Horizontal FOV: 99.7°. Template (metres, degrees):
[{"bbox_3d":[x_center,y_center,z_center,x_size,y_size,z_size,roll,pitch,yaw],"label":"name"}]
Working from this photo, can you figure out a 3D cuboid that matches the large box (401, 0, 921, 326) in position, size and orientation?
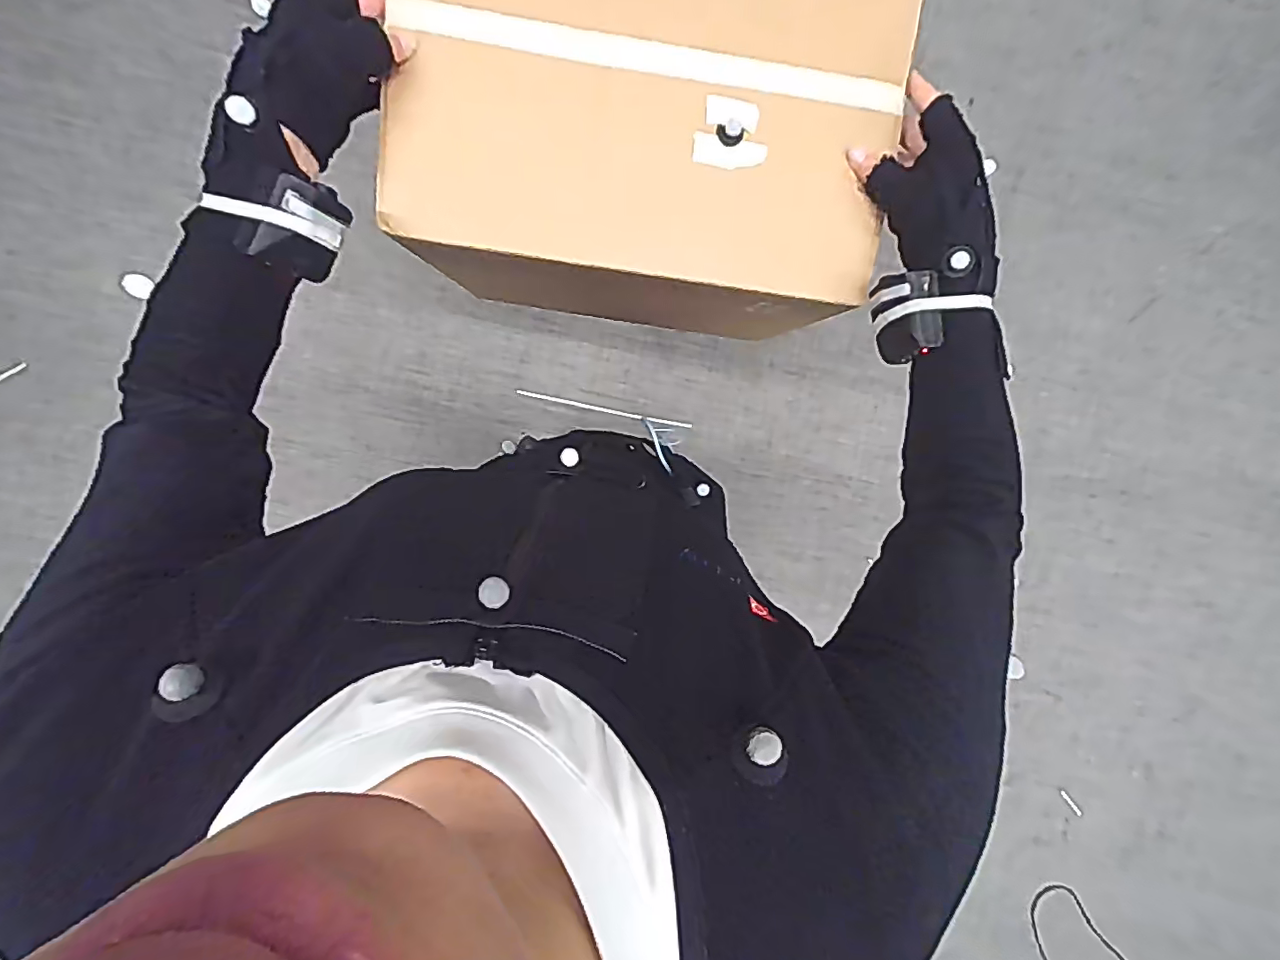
[{"bbox_3d":[0.009,-0.361,0.574,0.408,0.320,0.320,7,100,-5],"label":"large box"}]
